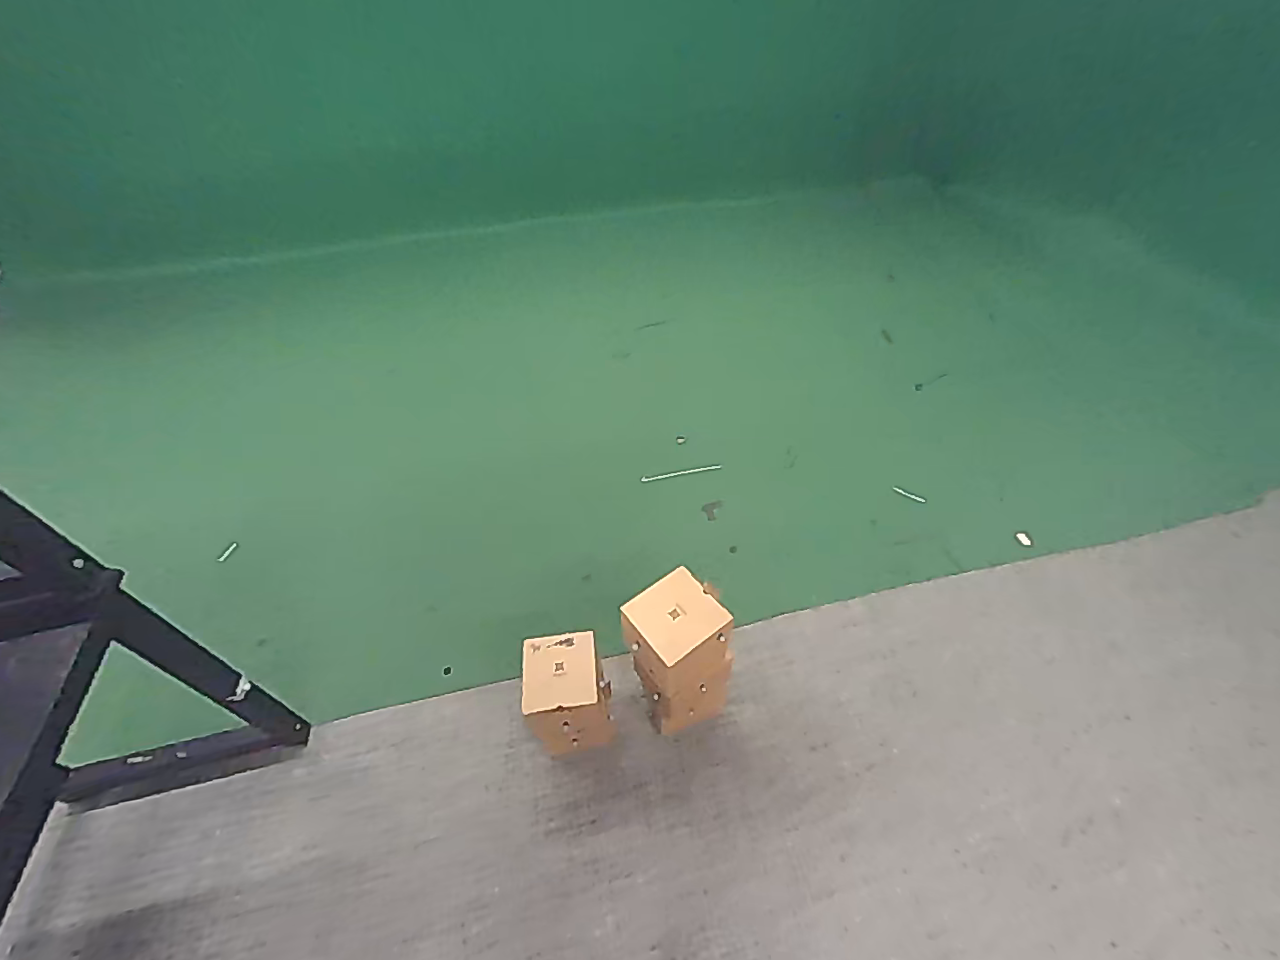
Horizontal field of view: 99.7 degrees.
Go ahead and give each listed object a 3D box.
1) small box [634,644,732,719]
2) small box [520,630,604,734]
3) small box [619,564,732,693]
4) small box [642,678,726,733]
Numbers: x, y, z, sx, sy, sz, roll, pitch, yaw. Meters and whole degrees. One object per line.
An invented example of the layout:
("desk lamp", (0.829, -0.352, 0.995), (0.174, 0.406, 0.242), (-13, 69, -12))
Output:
("small box", (0.096, 0.432, 1.284), (0.179, 0.176, 0.168), (-26, 54, -21))
("small box", (-0.177, 0.475, 1.255), (0.168, 0.176, 0.179), (-7, 48, -3))
("small box", (0.075, 0.323, 1.164), (0.179, 0.176, 0.168), (-30, 54, -24))
("small box", (0.107, 0.532, 1.412), (0.179, 0.176, 0.168), (-16, 49, -13))
